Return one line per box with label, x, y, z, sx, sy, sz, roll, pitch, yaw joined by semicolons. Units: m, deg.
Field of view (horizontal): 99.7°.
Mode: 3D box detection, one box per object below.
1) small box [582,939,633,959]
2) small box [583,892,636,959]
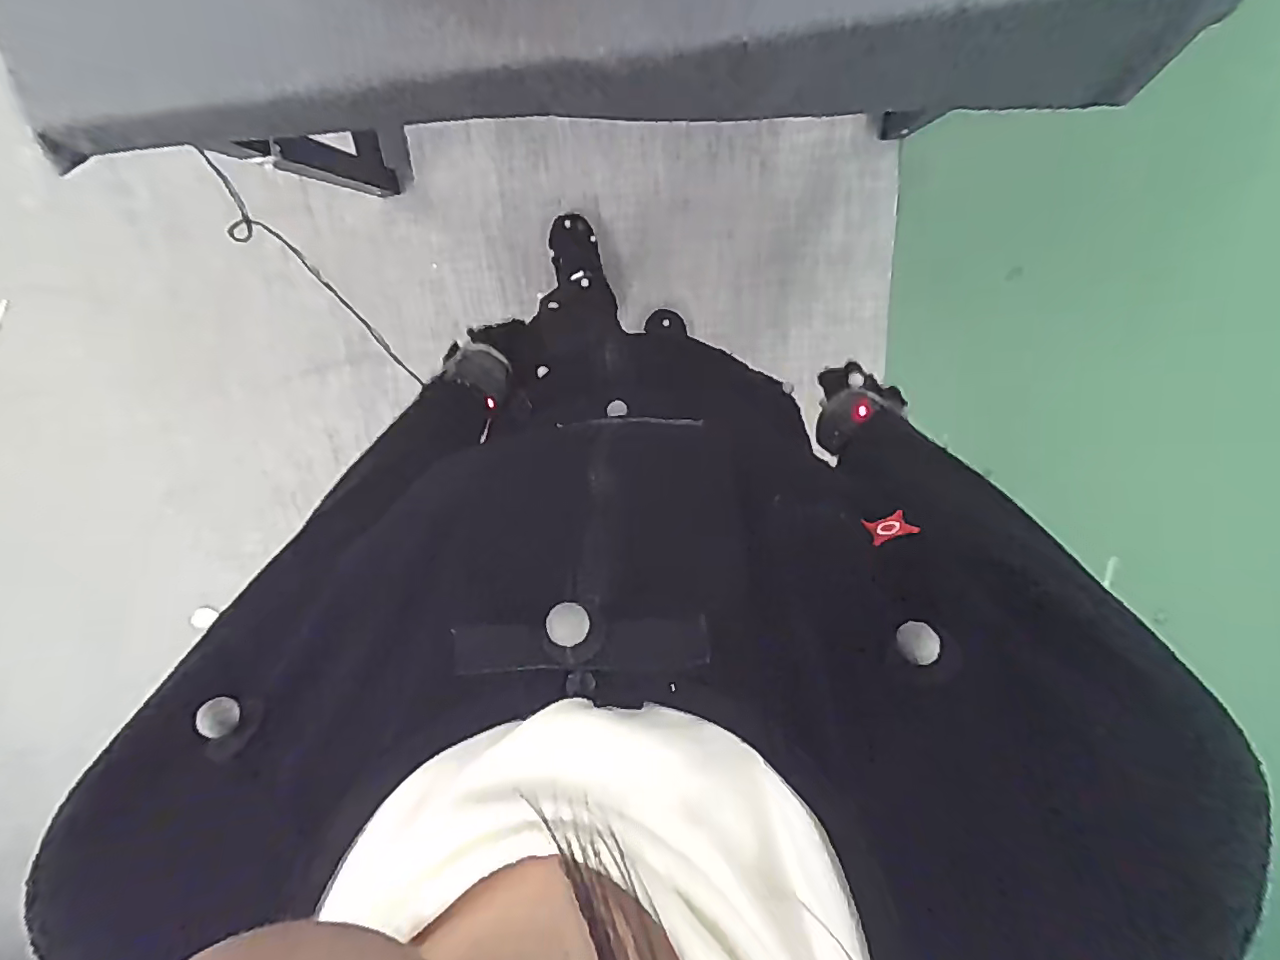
small box;-0.116;1.727;1.862;0.179;0.176;0.168;-2;110;3
small box;-0.110;1.681;2.018;0.179;0.176;0.168;-5;110;2
